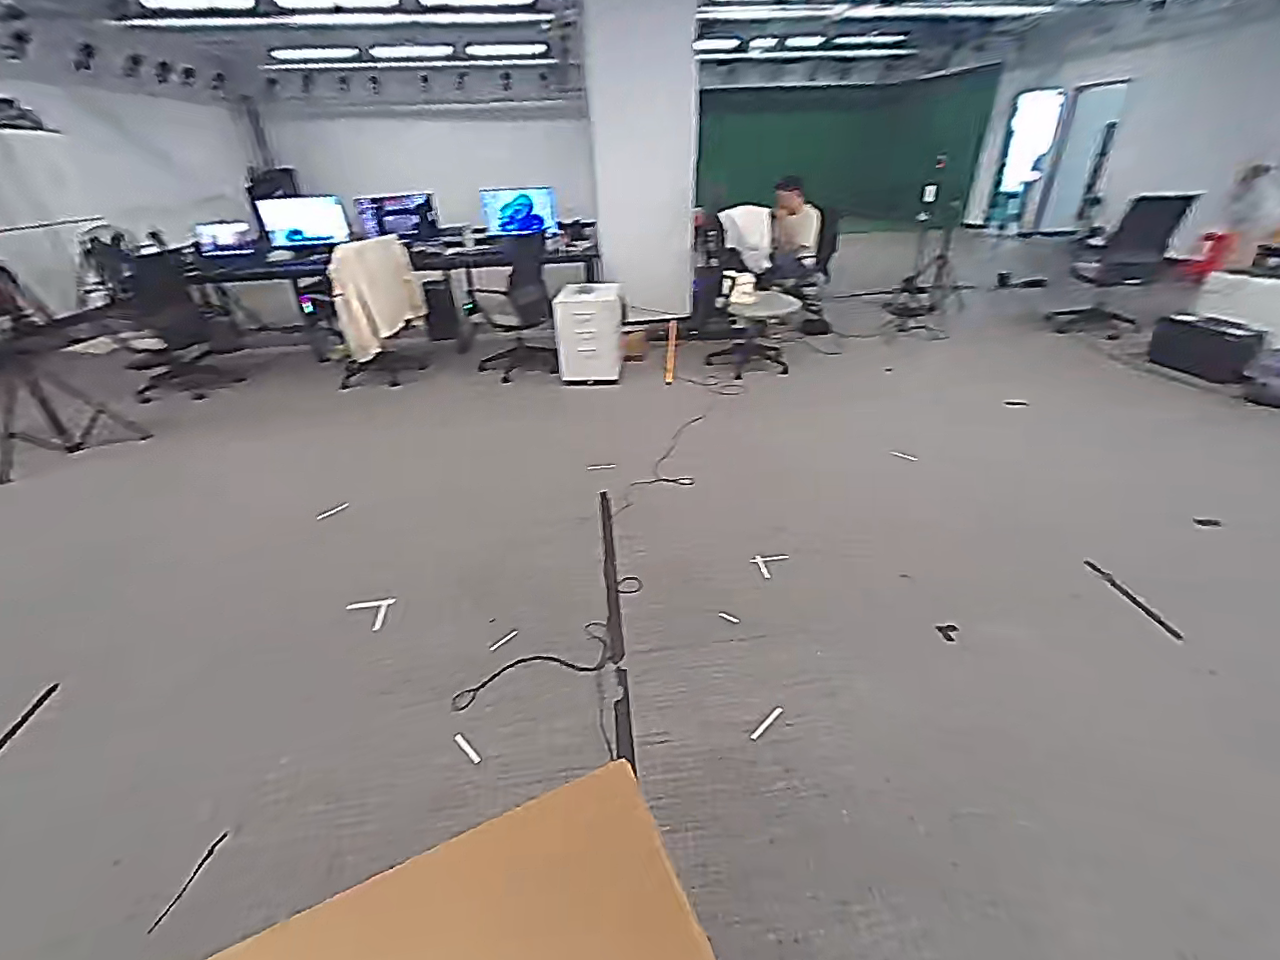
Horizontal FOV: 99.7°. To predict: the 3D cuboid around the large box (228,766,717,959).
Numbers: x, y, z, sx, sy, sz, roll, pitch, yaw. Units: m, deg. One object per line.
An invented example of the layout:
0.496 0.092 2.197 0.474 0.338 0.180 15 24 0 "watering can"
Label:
-0.120 0.492 0.370 0.408 0.320 0.320 -17 43 -18 "large box"
